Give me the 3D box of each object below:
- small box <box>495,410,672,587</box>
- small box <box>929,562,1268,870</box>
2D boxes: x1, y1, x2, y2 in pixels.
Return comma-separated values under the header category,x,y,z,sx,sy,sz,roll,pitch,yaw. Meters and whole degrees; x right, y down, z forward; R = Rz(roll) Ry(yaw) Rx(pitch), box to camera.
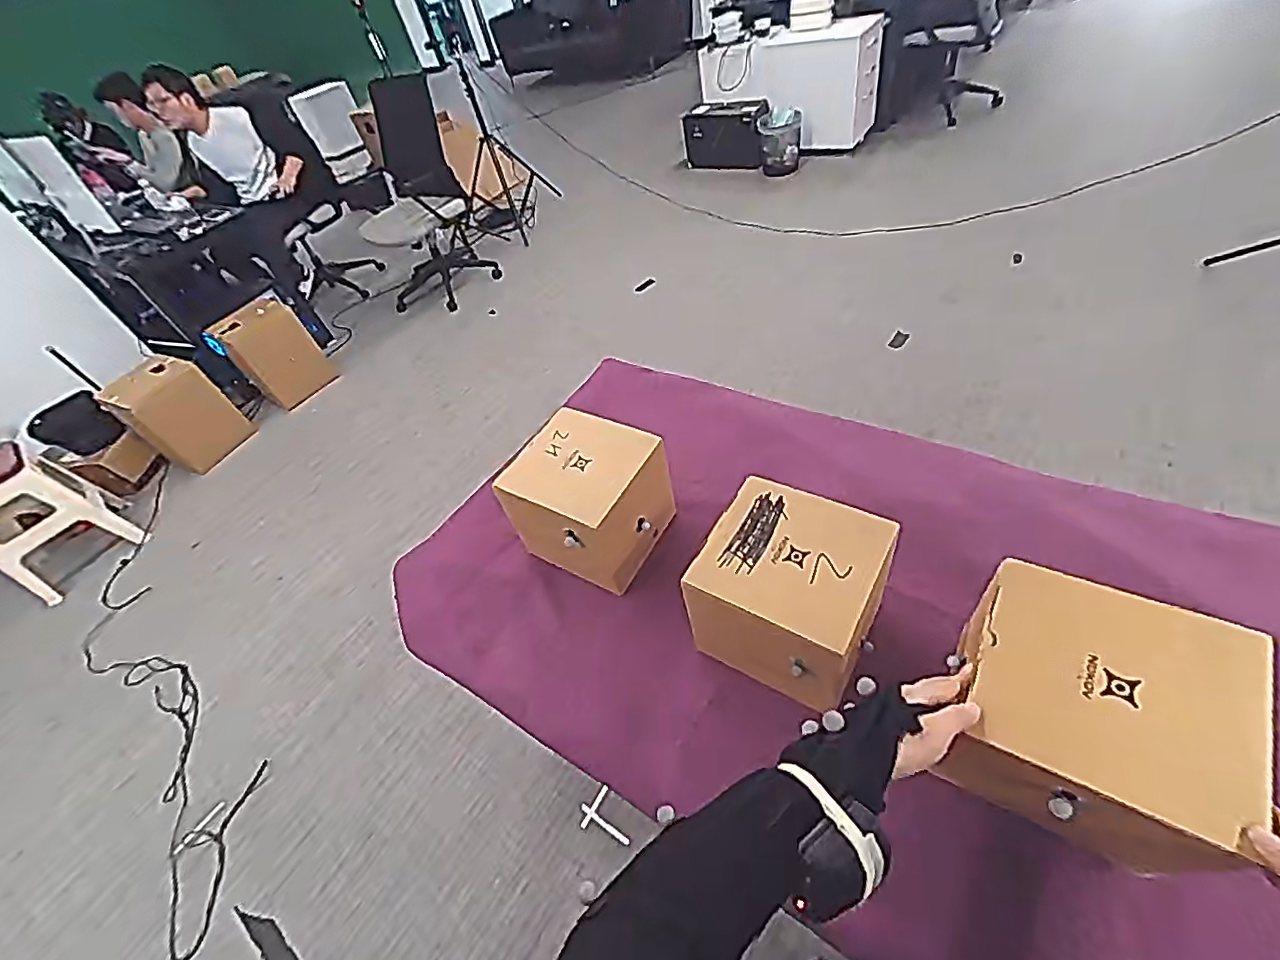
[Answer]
category,x,y,z,sx,sy,sz,roll,pitch,yaw
small box,-0.068,0.030,0.783,0.179,0.176,0.168,20,56,27
small box,0.378,0.205,0.474,0.179,0.176,0.168,18,60,30
